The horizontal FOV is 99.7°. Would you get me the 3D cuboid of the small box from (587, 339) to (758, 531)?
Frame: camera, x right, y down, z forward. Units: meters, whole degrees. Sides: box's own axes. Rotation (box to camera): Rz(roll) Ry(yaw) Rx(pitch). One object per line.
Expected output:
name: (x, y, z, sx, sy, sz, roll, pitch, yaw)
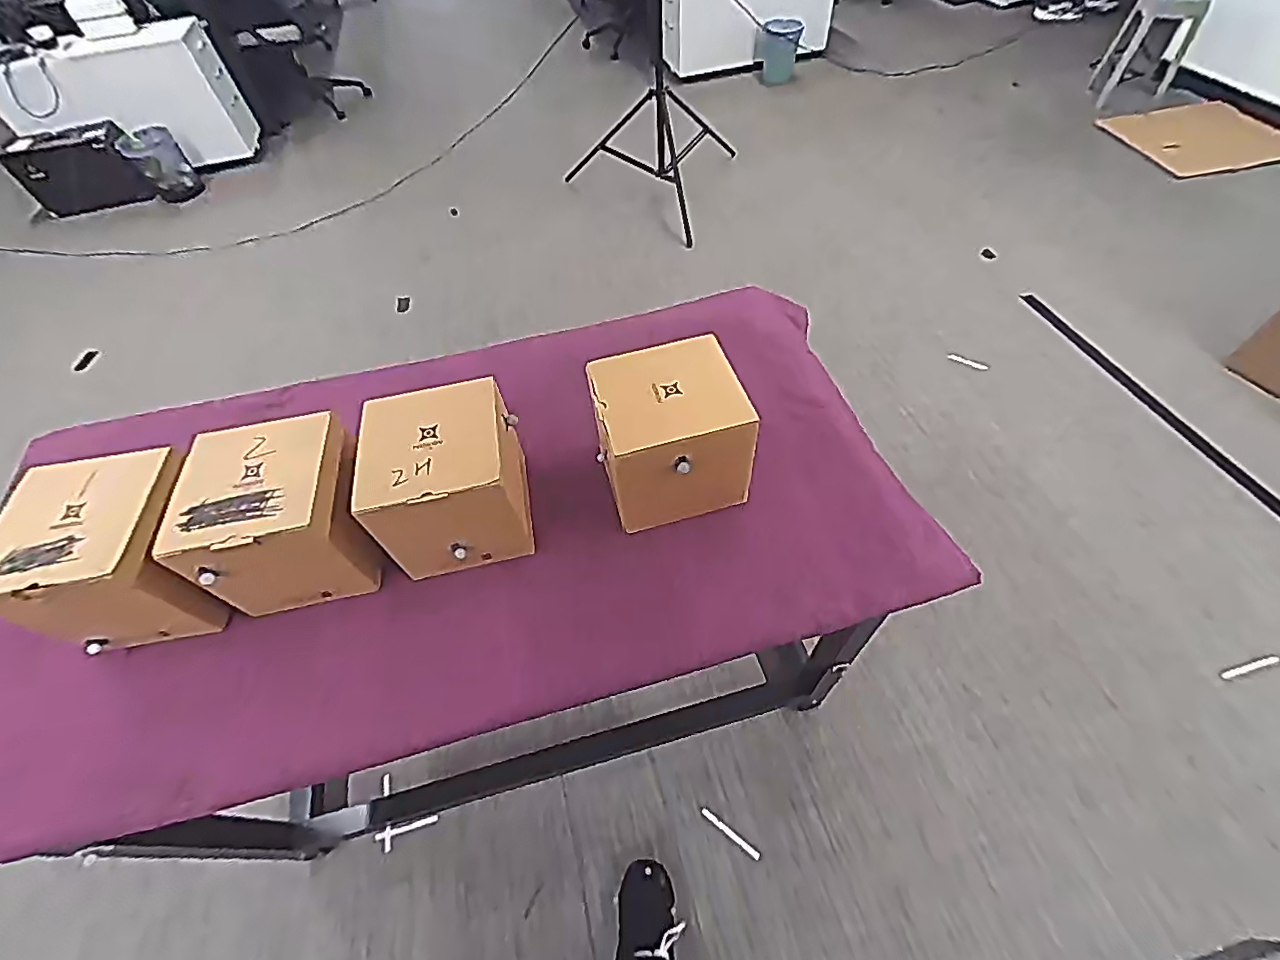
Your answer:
small box: (0.039, -0.056, 0.723, 0.179, 0.176, 0.168, -15, 53, -5)
